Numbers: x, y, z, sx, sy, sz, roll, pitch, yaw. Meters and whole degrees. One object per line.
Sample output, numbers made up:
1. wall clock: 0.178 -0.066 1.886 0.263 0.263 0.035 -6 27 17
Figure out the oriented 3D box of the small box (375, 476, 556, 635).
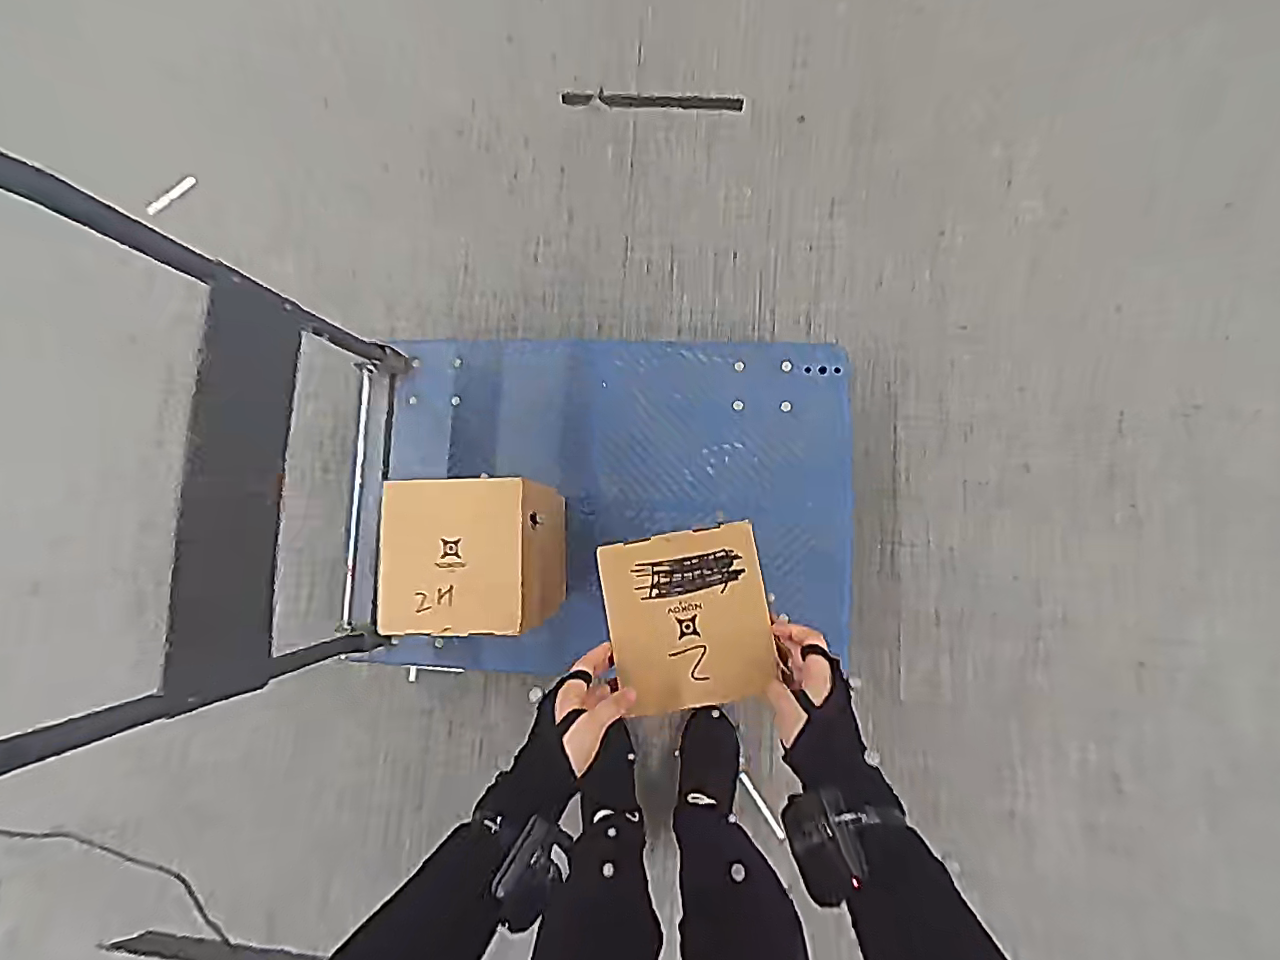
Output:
1. small box: -0.206 0.092 0.678 0.168 0.176 0.179 -1 85 5
